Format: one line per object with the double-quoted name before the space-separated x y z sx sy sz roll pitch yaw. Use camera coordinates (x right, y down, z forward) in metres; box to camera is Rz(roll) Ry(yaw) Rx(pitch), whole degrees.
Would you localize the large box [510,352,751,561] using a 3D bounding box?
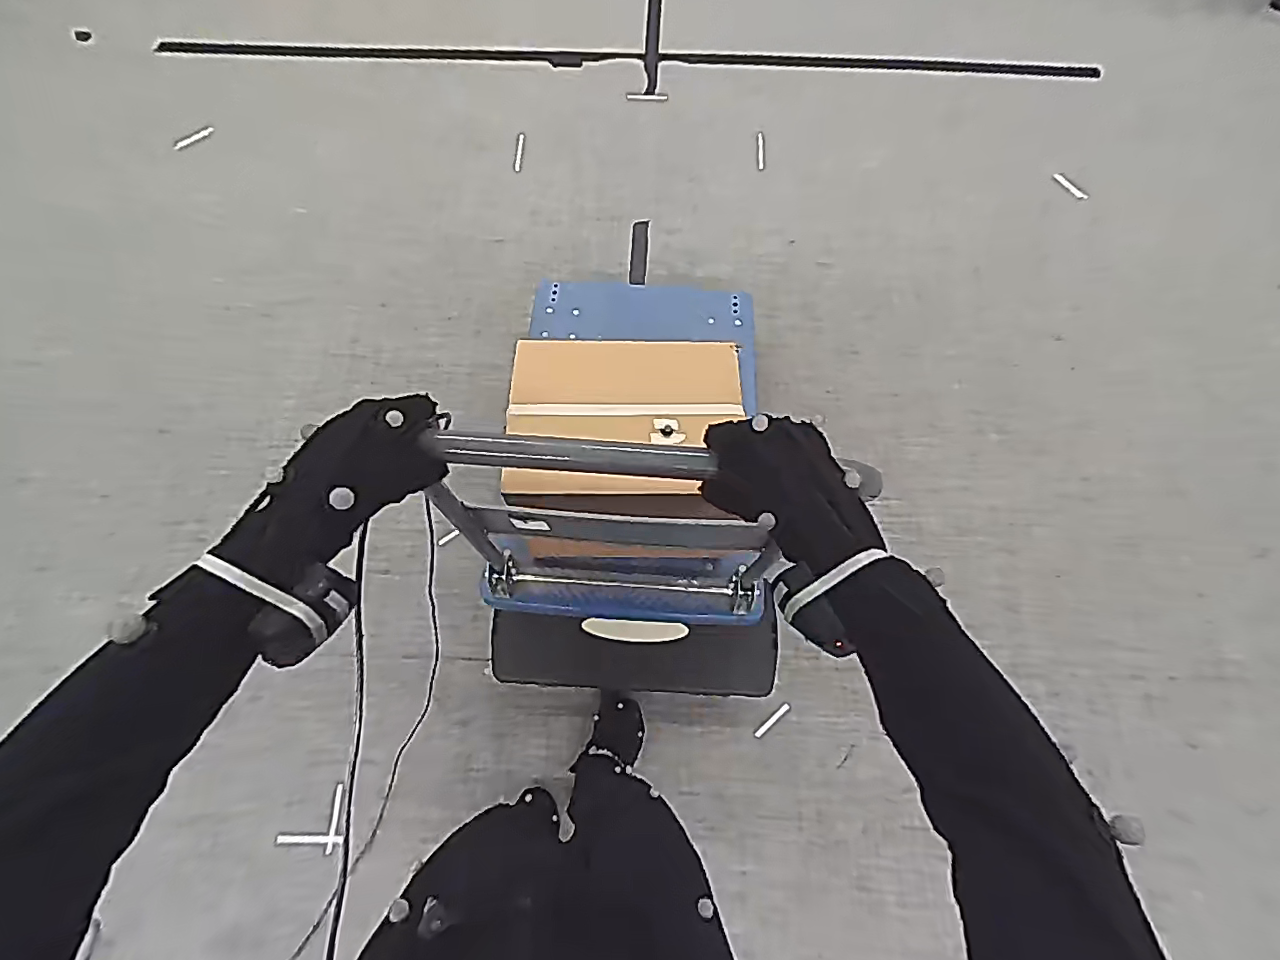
"large box" -0.025 -0.034 1.078 0.408 0.320 0.320 1 63 -3
